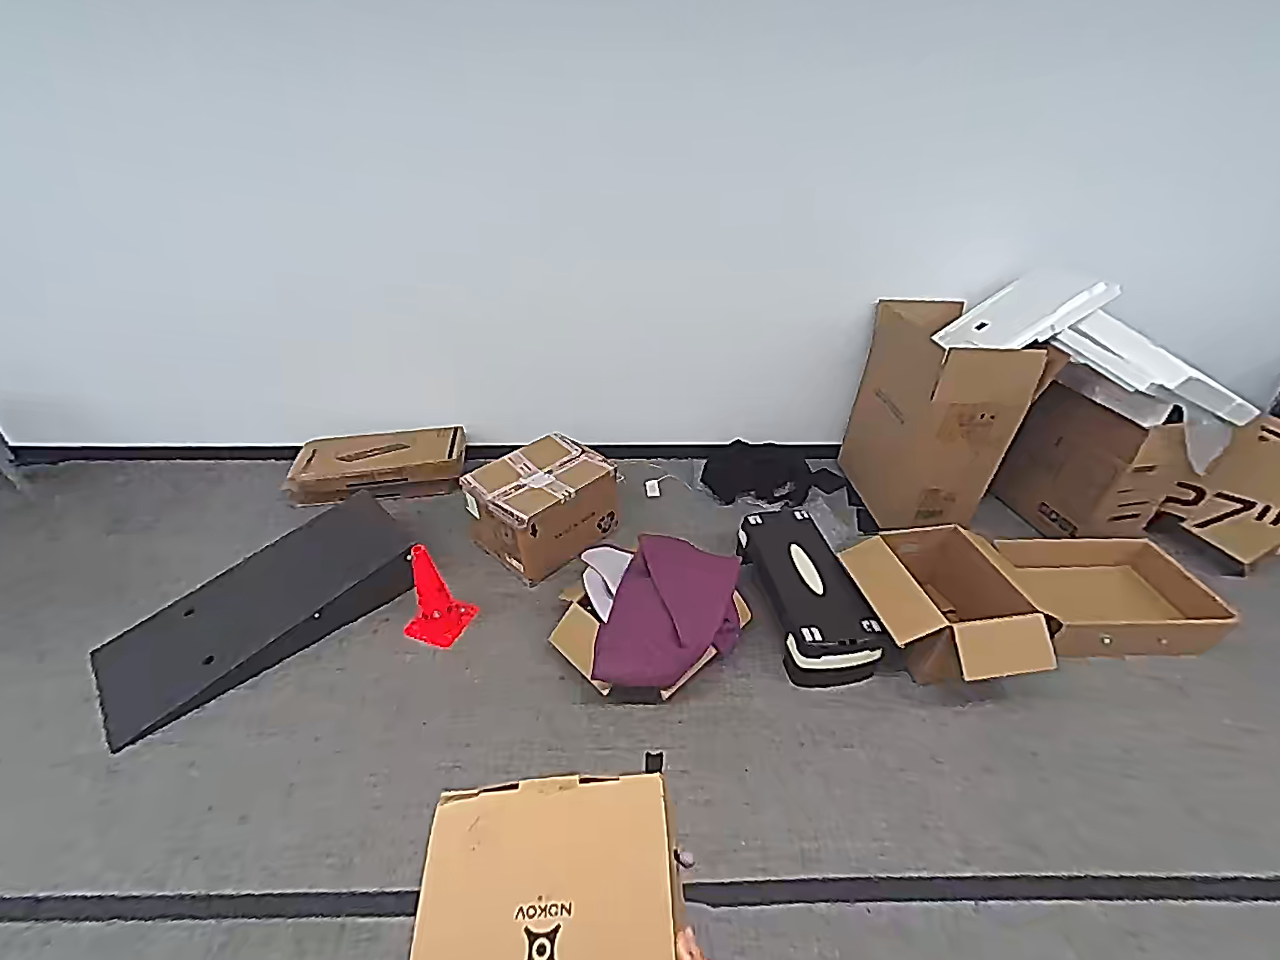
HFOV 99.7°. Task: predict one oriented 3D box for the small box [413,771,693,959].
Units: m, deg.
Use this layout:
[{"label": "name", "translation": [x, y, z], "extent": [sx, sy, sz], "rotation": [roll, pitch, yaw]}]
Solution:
[{"label": "small box", "translation": [-0.049, 0.332, 0.388], "extent": [0.168, 0.176, 0.179], "rotation": [-8, 49, 3]}]
